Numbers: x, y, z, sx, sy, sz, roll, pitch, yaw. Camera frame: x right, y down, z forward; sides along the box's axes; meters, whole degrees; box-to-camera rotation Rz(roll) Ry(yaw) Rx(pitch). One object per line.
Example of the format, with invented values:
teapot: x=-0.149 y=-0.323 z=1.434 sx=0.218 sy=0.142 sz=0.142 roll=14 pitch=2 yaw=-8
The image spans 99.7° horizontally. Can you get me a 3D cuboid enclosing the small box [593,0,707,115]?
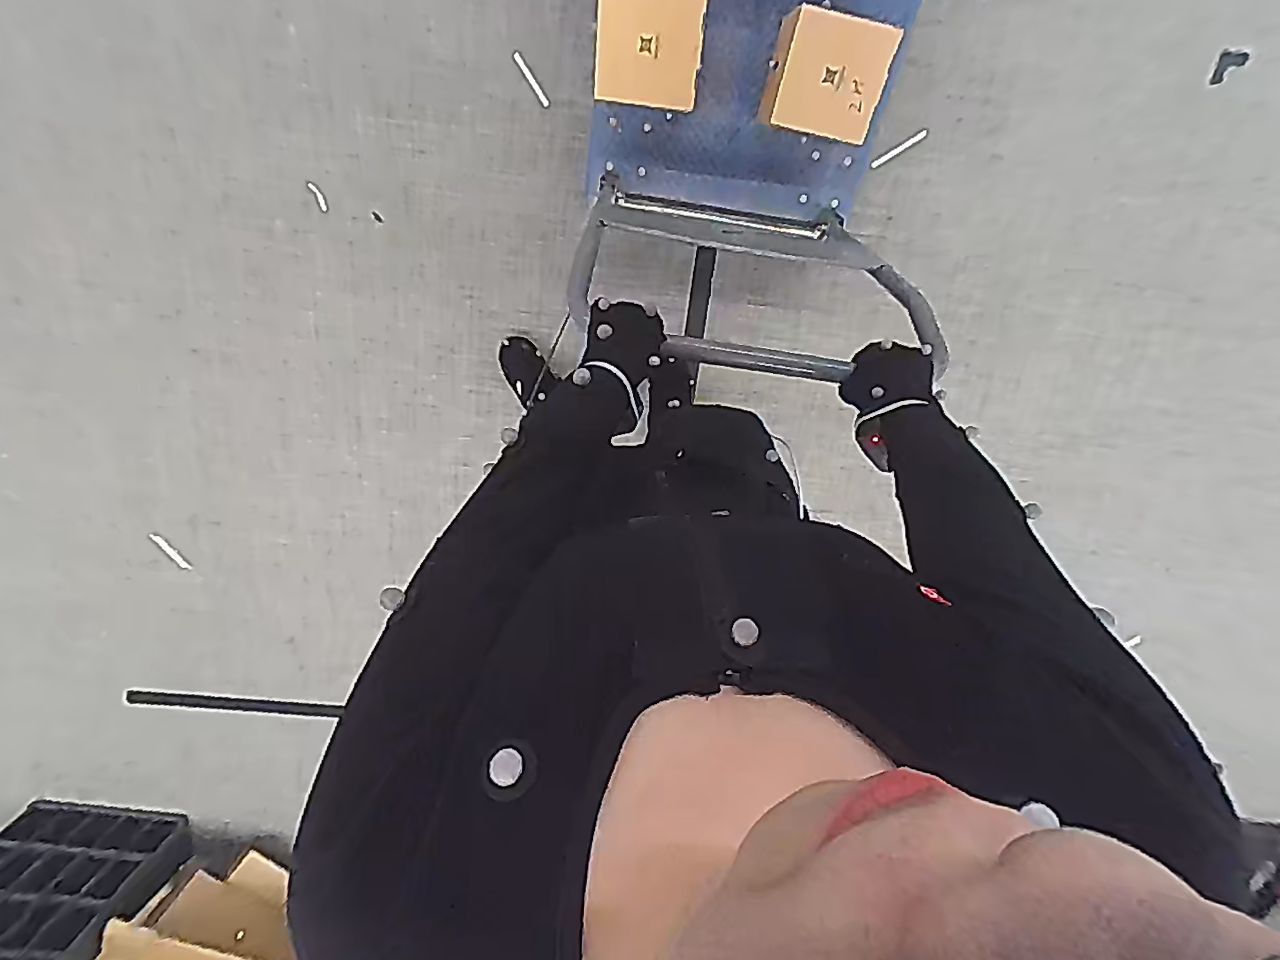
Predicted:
small box: x=0.014 y=-0.757 z=0.960 sx=0.179 sy=0.176 sz=0.168 roll=5 pitch=124 yaw=-4

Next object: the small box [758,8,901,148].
small box: x=0.327 y=-0.716 z=0.980 sx=0.179 sy=0.176 sz=0.168 roll=10 pitch=124 yaw=-6
